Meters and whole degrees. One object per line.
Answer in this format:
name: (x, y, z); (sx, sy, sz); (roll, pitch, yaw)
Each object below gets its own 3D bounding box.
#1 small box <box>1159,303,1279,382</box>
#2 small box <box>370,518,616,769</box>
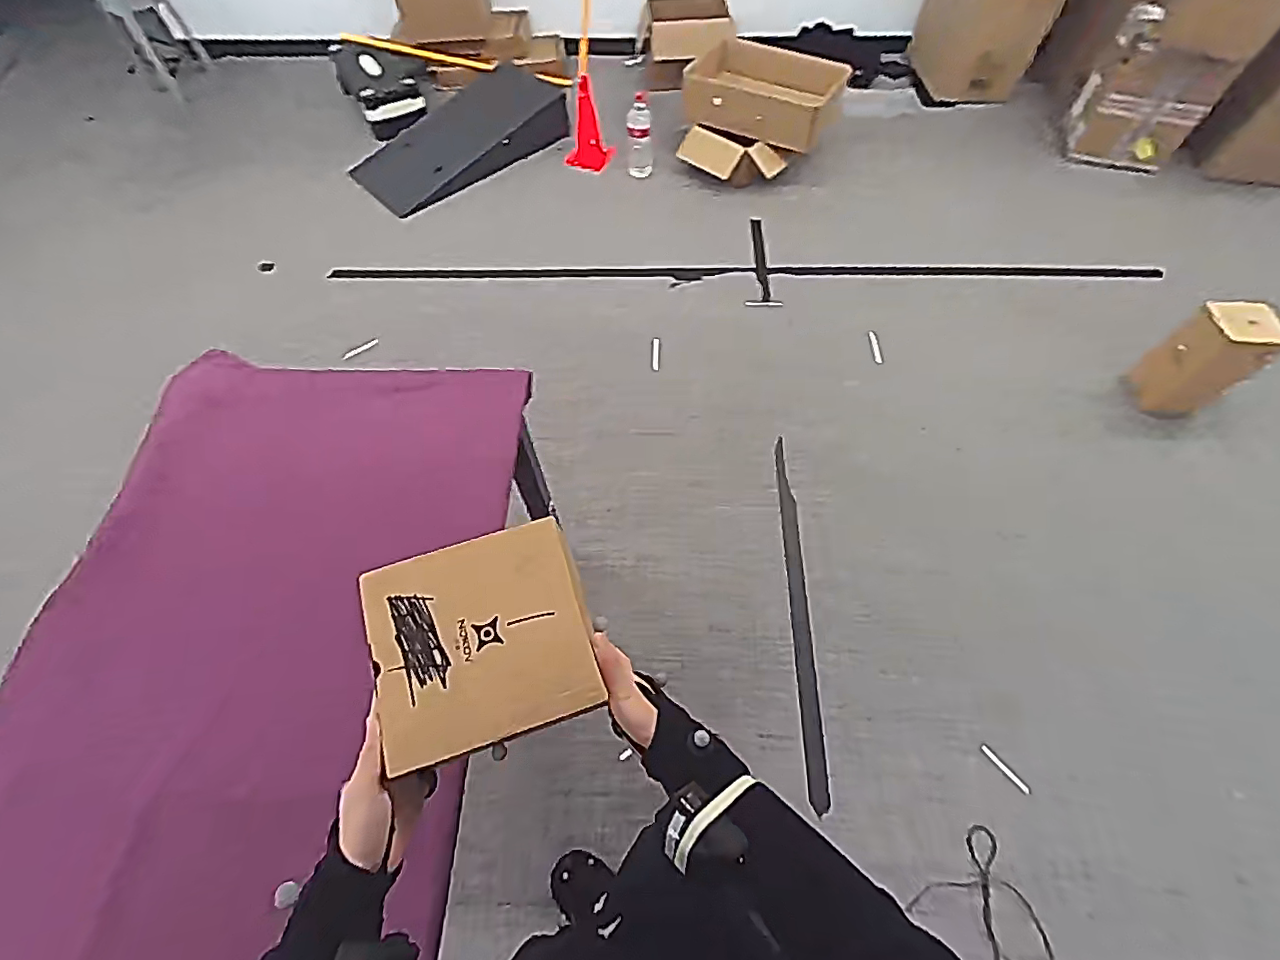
small box: (1.754, -0.413, 1.638); (0.179, 0.176, 0.168); (4, 59, 4)
small box: (-0.129, 0.159, 0.523); (0.179, 0.176, 0.168); (-16, 69, -7)
